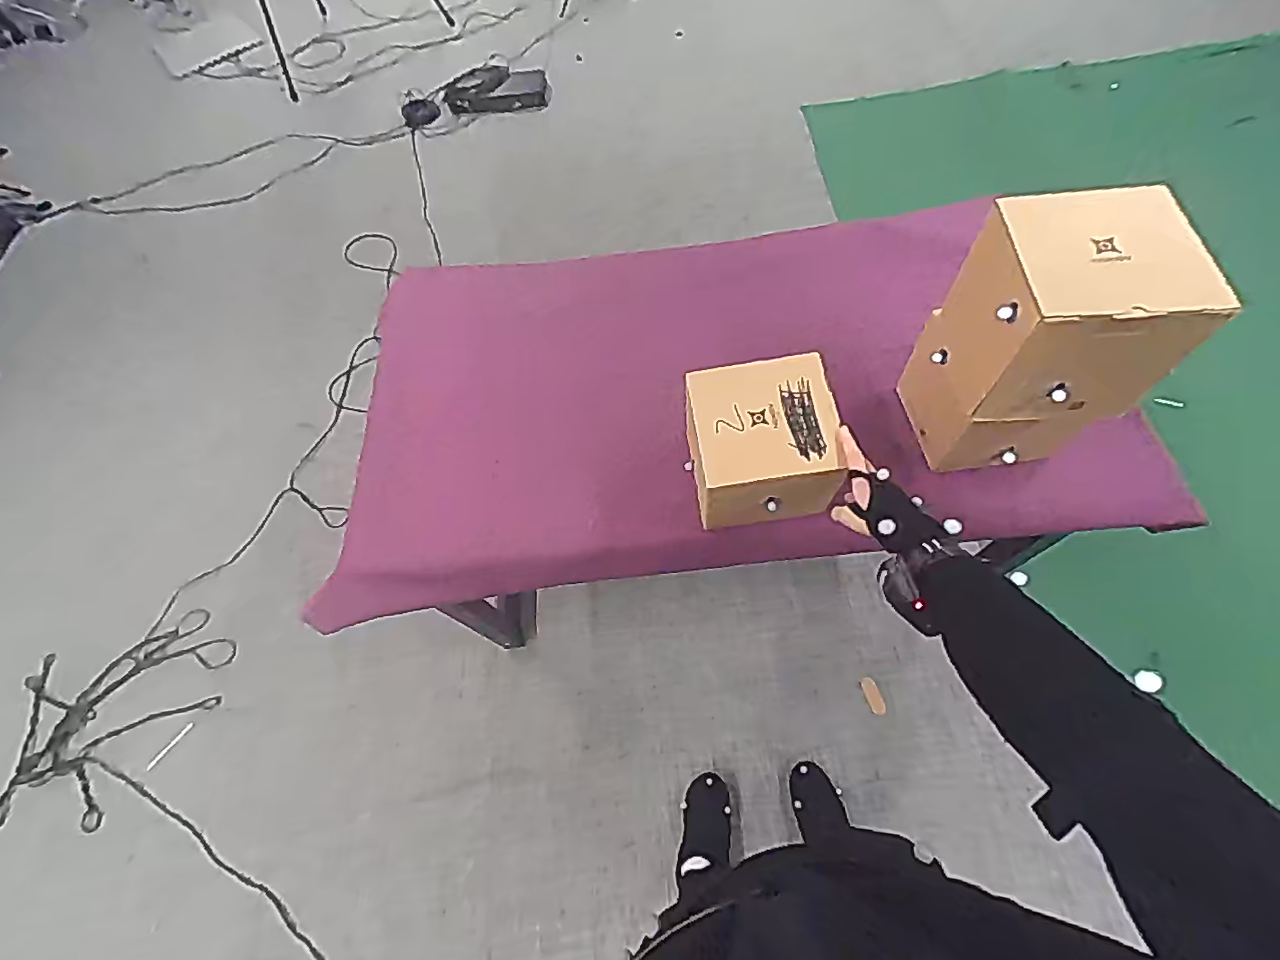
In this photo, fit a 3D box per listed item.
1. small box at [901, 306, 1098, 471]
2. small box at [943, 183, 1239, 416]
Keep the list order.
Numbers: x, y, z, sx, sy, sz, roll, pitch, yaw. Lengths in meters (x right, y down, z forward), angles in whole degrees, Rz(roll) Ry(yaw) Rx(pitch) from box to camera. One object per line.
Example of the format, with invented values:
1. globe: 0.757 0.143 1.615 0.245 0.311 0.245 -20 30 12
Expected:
1. small box: 0.494 -0.130 0.745 0.179 0.176 0.168 -8 59 4
2. small box: 0.461 -0.190 0.595 0.168 0.176 0.179 -2 62 8
